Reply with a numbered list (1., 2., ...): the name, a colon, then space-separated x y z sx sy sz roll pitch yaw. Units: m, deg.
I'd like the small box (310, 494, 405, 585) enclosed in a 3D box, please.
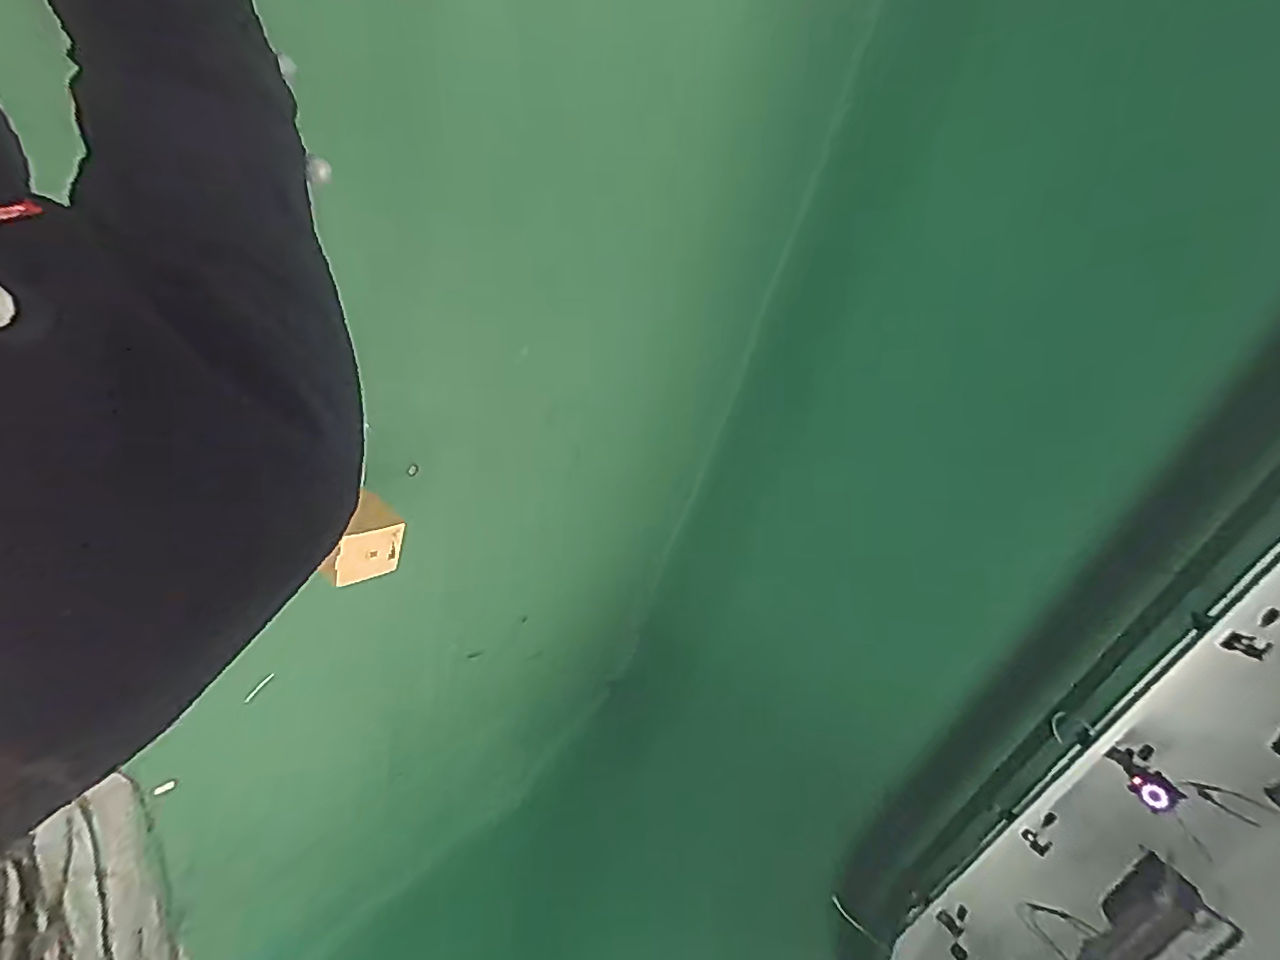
1. small box: -0.784 0.156 1.489 0.179 0.176 0.168 -13 130 -54
